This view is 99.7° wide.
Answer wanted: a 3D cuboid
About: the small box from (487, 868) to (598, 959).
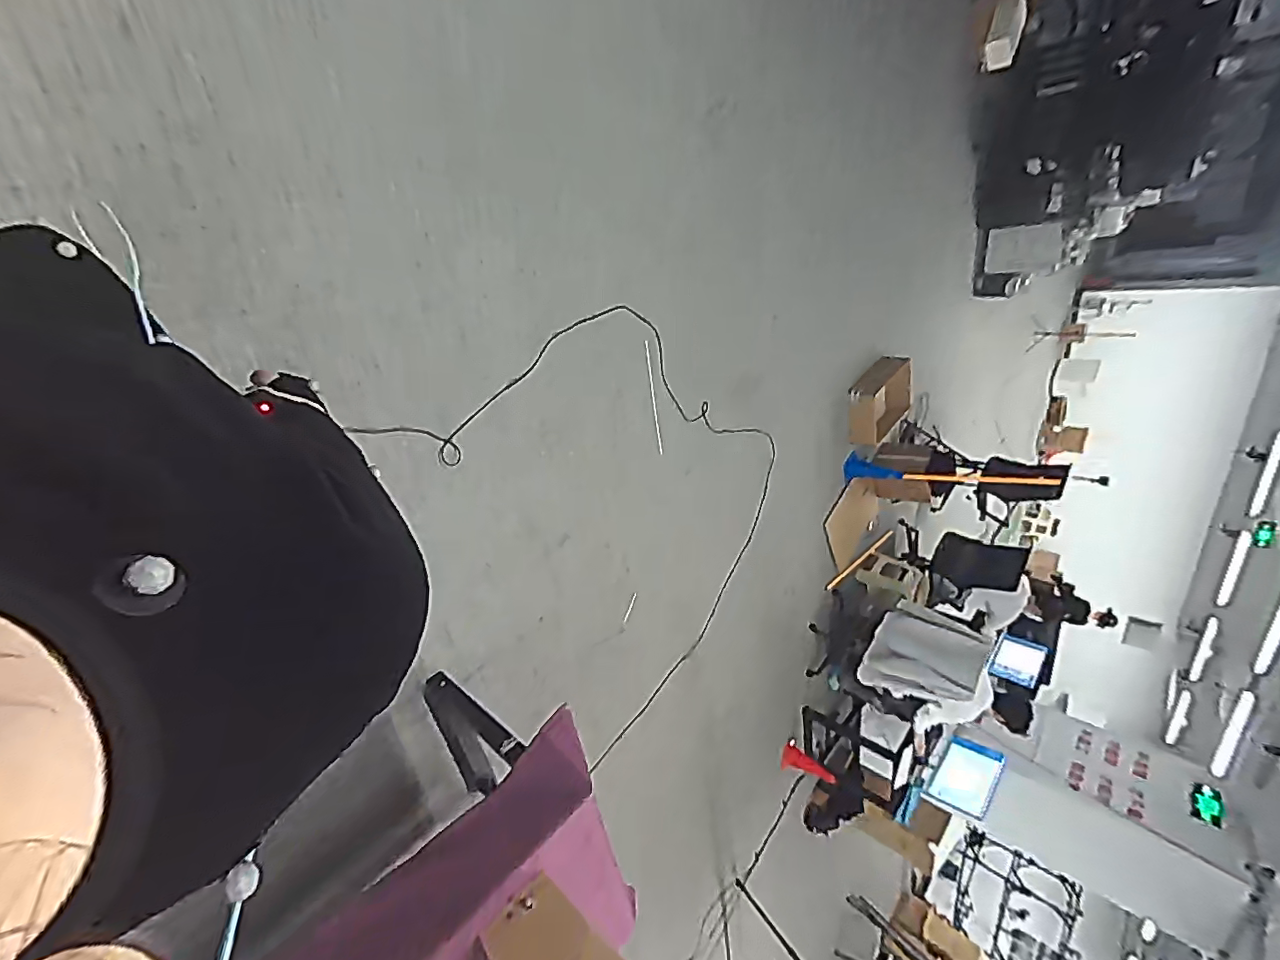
[{"bbox_3d":[-0.196,0.980,1.139,0.168,0.176,0.179,-27,119,-40],"label":"small box"}]
